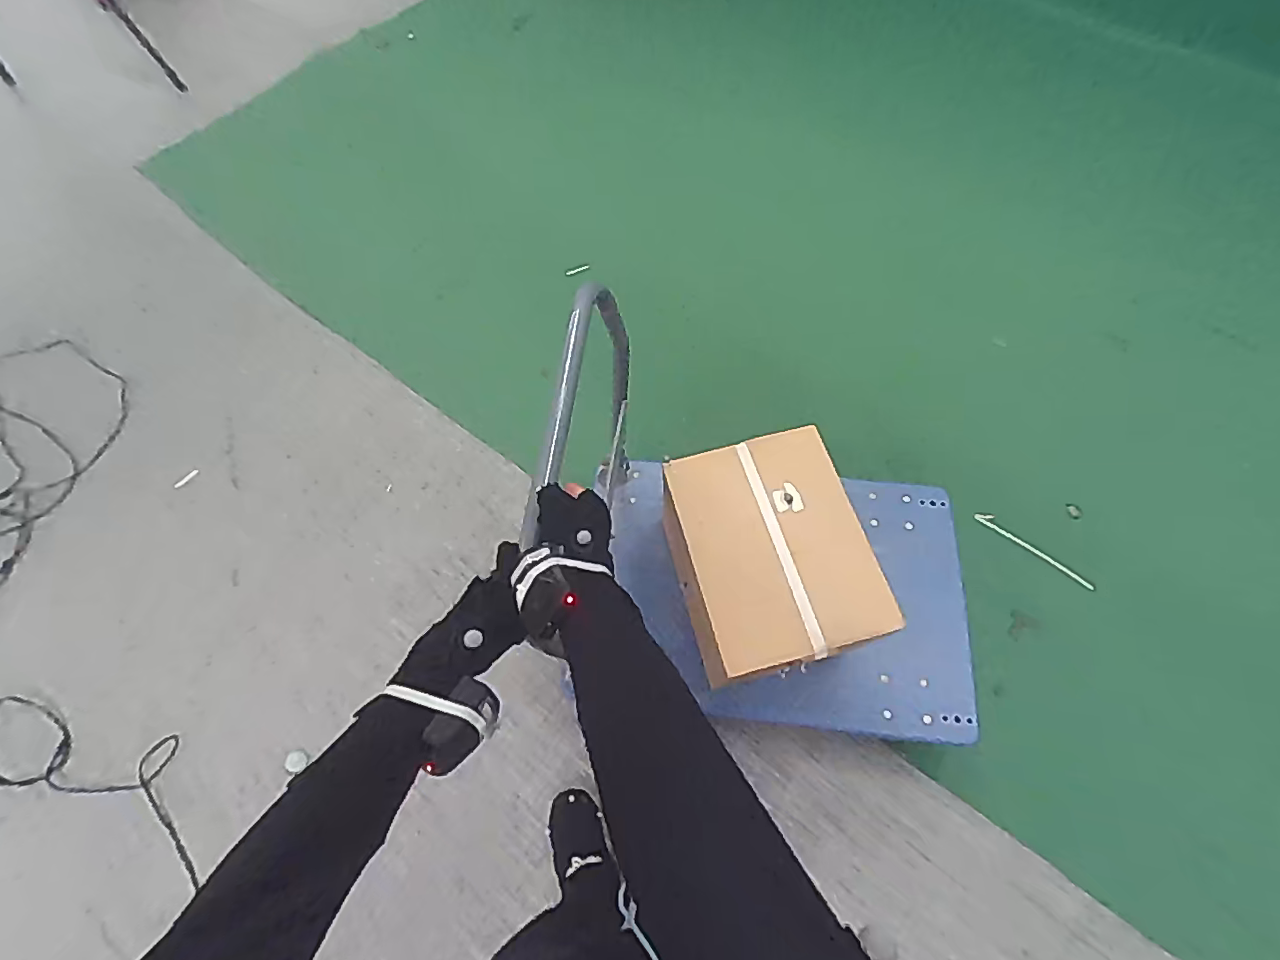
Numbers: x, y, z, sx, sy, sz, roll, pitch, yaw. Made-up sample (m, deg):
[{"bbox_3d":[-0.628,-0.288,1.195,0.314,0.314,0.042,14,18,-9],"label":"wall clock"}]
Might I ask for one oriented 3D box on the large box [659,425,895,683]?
[{"bbox_3d":[0.240,0.162,1.103,0.320,0.320,0.408,-13,65,-4],"label":"large box"}]
